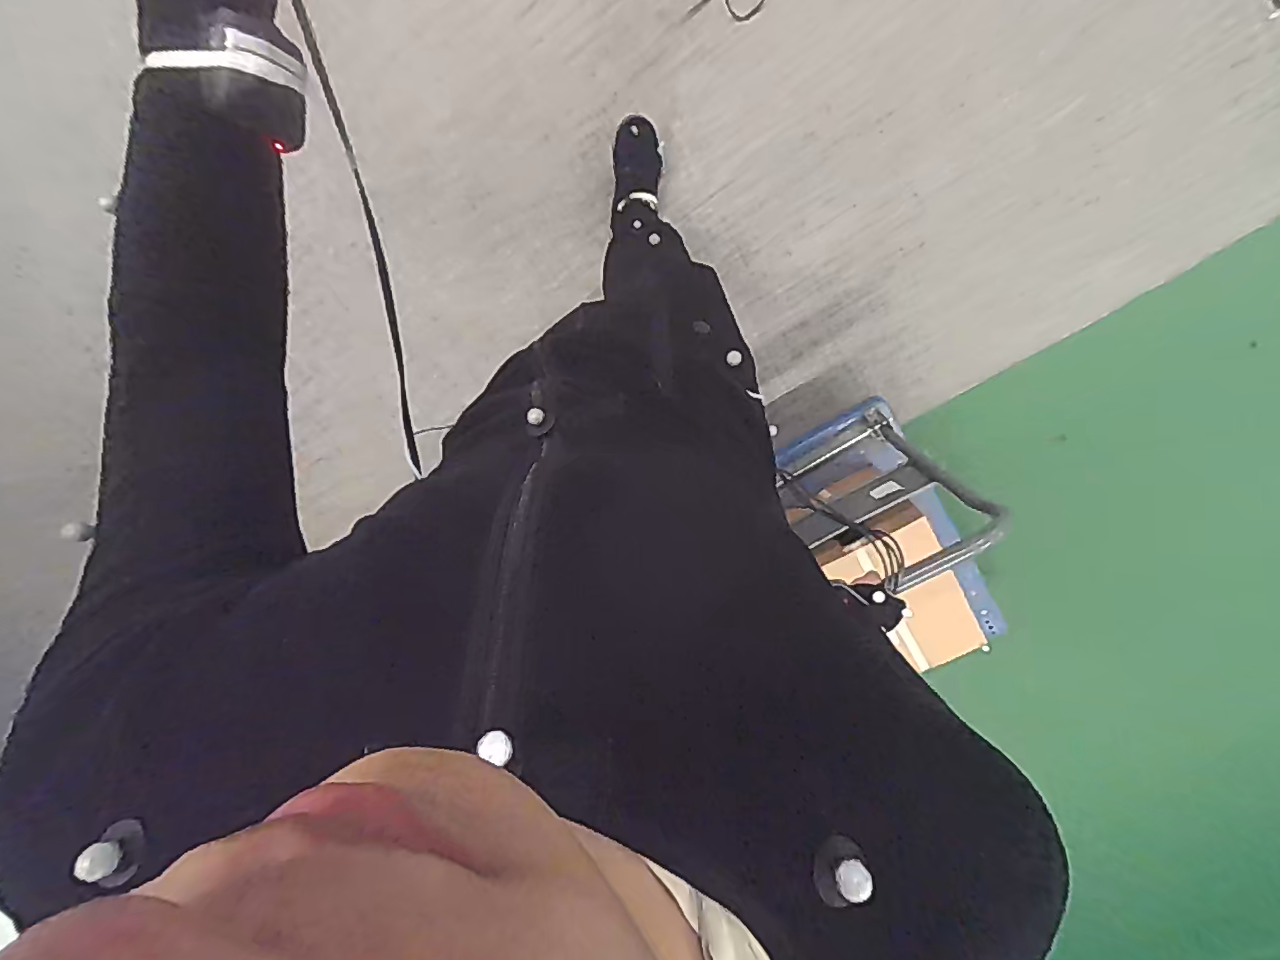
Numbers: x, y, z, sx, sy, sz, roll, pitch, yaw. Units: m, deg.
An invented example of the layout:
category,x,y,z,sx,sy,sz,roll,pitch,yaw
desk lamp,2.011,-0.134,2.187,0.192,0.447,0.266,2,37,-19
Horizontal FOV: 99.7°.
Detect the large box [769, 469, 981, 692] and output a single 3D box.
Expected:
category,x,y,z,sx,sy,sz,roll,pitch,yaw
large box,0.584,0.249,1.400,0.320,0.320,0.408,-29,109,14
